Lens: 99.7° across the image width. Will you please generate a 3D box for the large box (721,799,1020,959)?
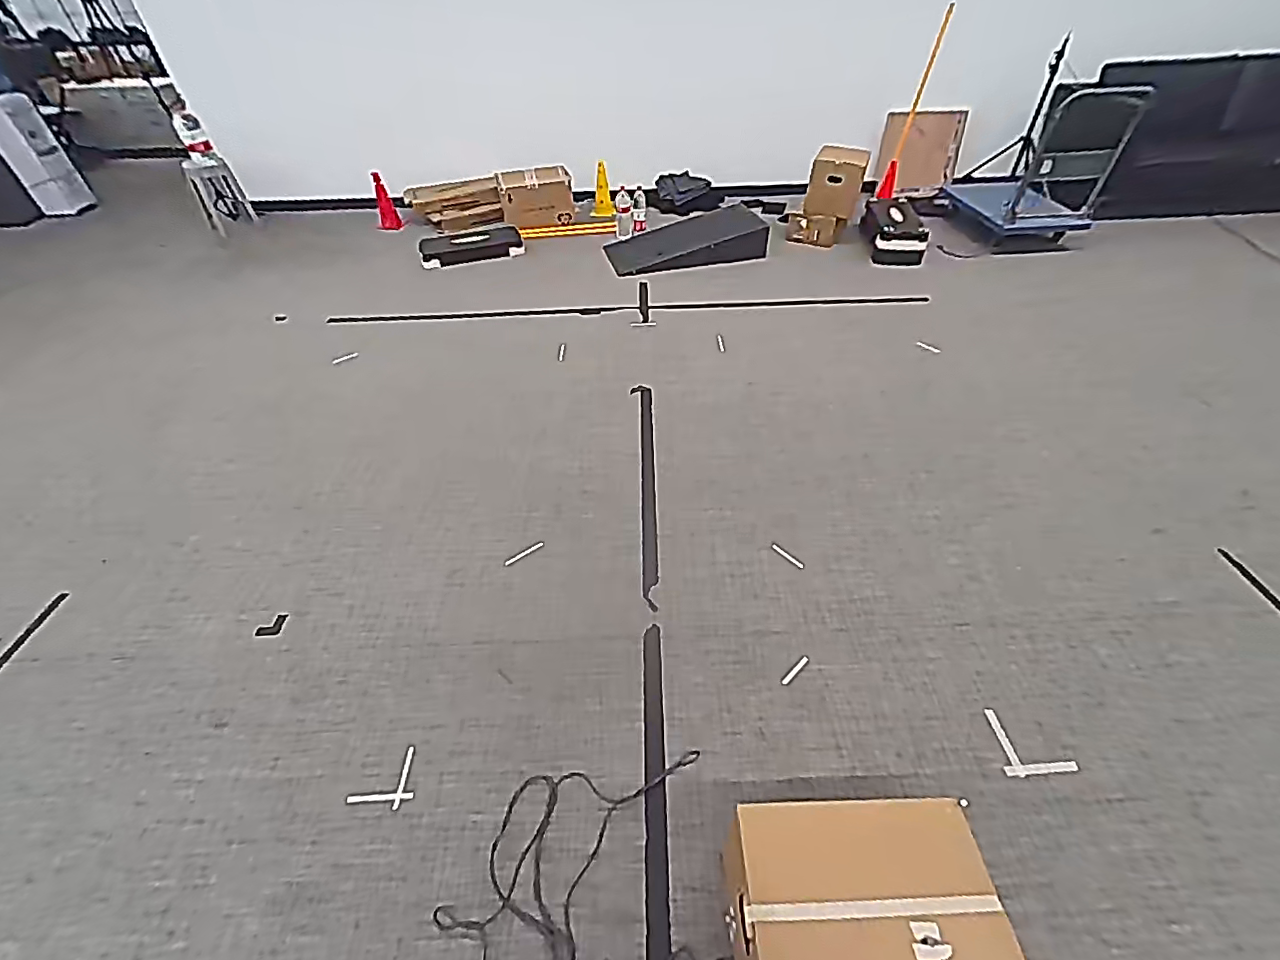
[{"bbox_3d":[0.379,0.801,0.967,0.408,0.320,0.320,-2,43,-1],"label":"large box"}]
